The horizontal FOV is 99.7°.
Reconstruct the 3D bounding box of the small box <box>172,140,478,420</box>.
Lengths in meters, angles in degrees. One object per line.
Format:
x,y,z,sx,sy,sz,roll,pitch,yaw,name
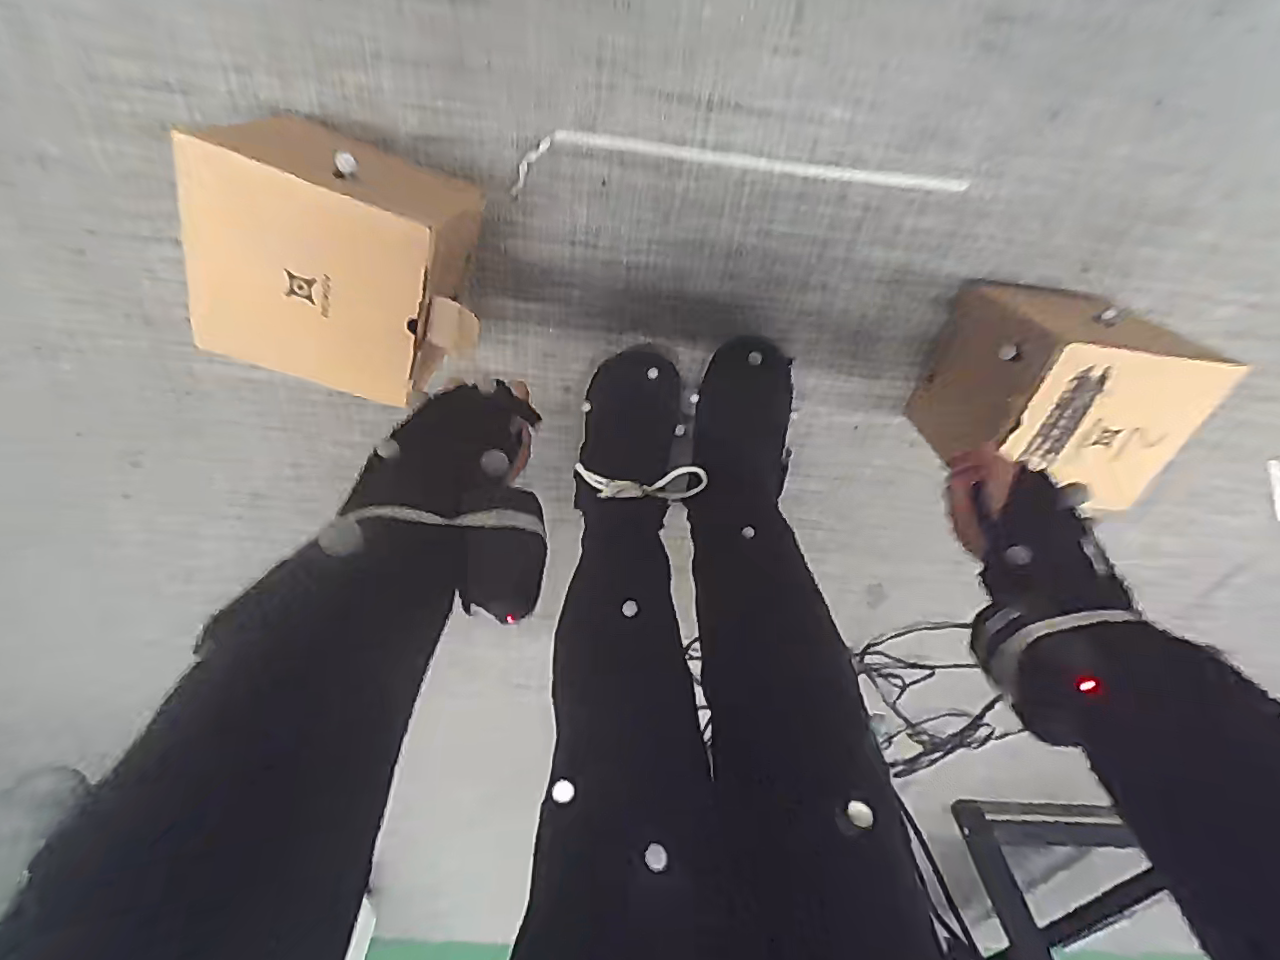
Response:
-0.265,-0.185,0.489,0.179,0.176,0.168,17,124,-13,small box
